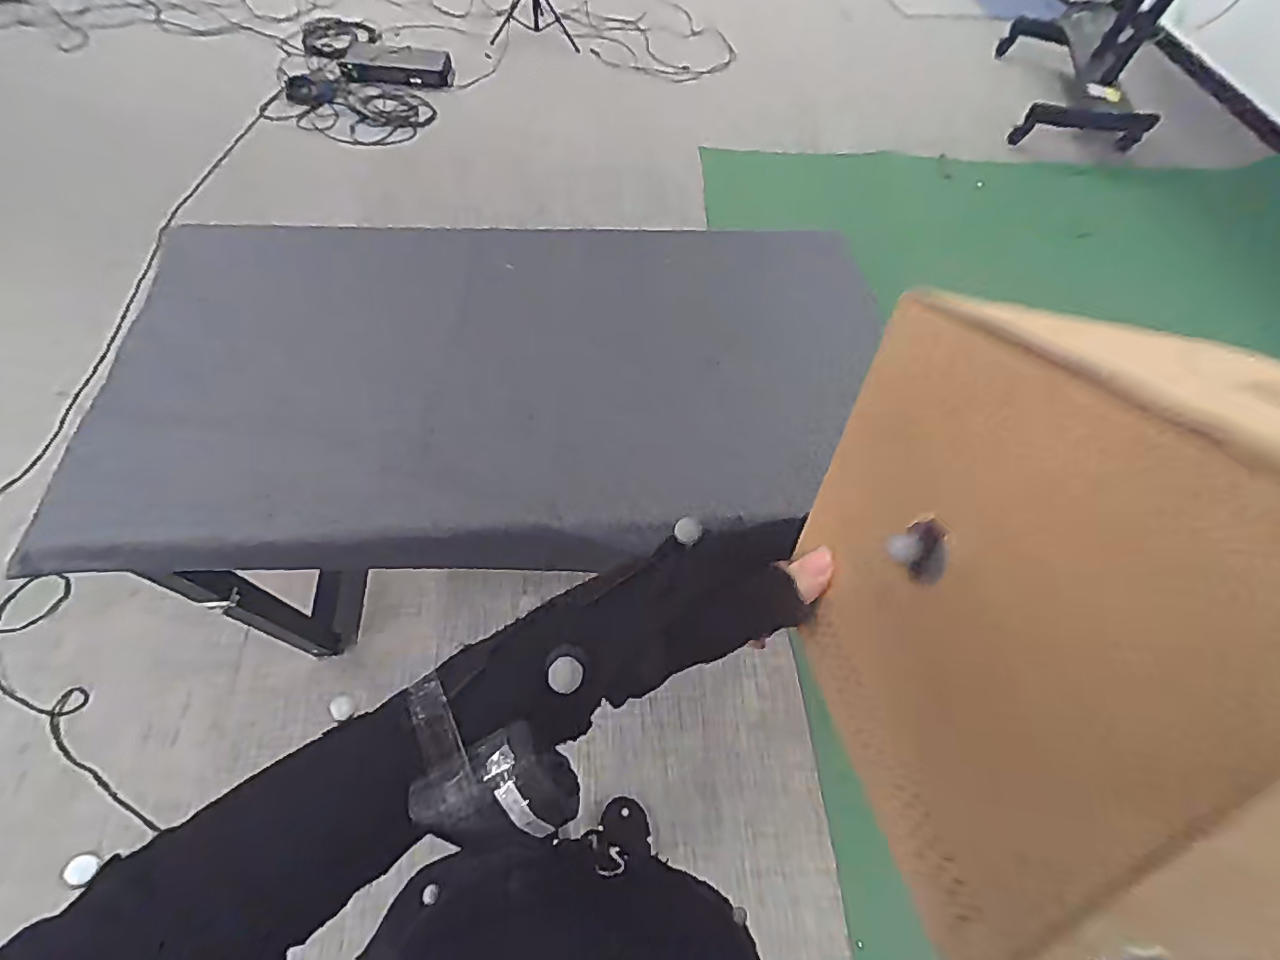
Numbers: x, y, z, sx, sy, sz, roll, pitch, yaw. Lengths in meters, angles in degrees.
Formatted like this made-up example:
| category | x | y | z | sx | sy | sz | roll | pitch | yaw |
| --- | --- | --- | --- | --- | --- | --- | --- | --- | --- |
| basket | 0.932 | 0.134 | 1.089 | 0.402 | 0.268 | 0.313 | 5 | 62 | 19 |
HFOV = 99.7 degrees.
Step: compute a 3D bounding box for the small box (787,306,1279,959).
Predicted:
| category | x | y | z | sx | sy | sz | roll | pitch | yaw |
| --- | --- | --- | --- | --- | --- | --- | --- | --- | --- |
| small box | 0.179 | 0.052 | 0.204 | 0.168 | 0.176 | 0.179 | 7 | 30 | -10 |
